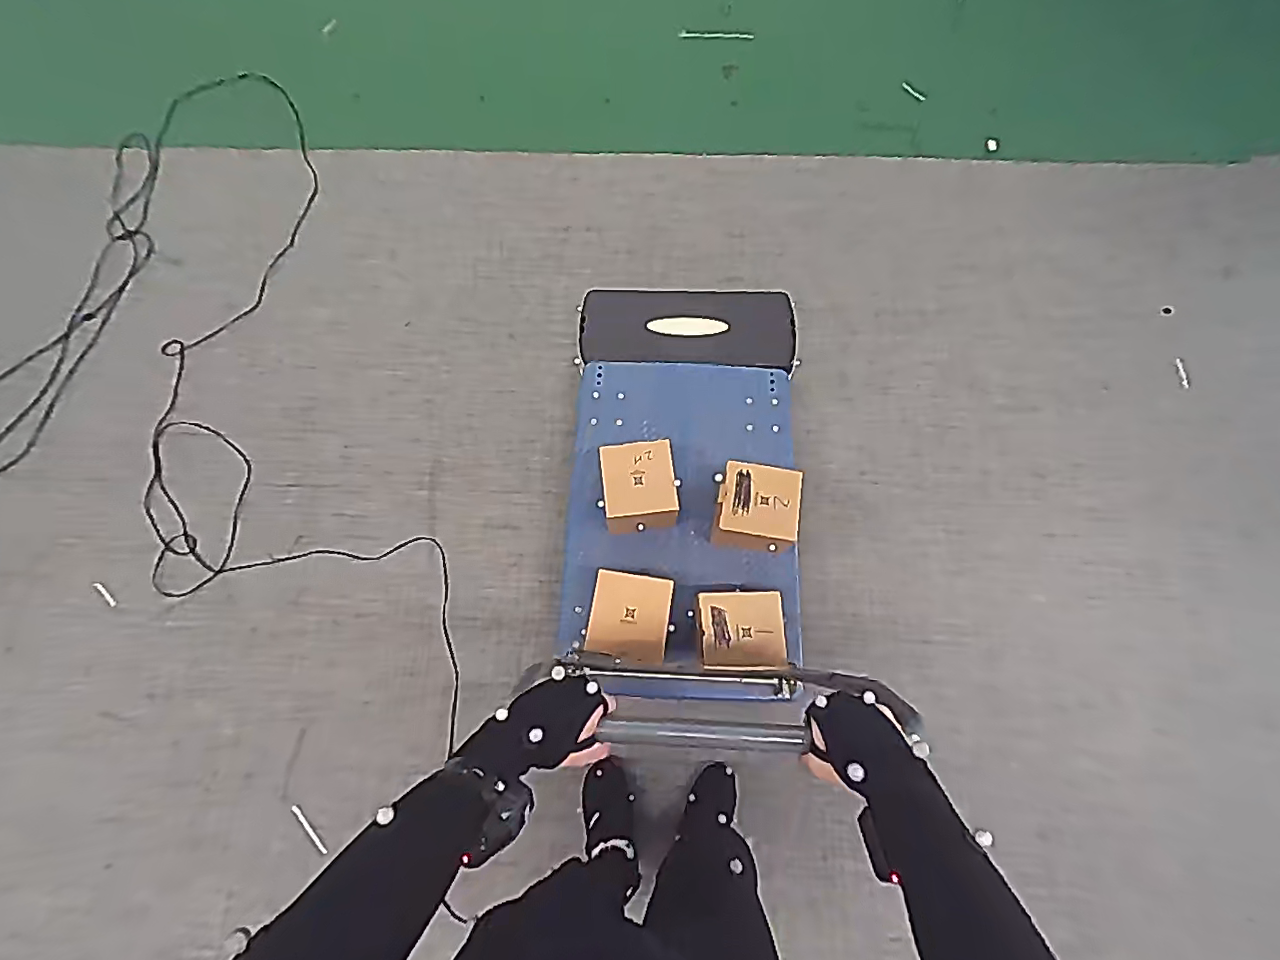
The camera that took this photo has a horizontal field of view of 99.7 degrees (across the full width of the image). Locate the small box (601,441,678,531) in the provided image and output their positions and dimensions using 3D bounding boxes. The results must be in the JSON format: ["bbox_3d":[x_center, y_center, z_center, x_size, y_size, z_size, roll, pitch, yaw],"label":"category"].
[{"bbox_3d":[-0.001,0.022,1.307,0.168,0.176,0.179,-6,71,-3],"label":"small box"}]

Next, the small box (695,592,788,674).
[{"bbox_3d":[0.214,0.341,1.196,0.179,0.176,0.168,-1,72,0],"label":"small box"}]

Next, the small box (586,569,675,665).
[{"bbox_3d":[-0.021,0.310,1.209,0.168,0.176,0.179,9,72,2],"label":"small box"}]
